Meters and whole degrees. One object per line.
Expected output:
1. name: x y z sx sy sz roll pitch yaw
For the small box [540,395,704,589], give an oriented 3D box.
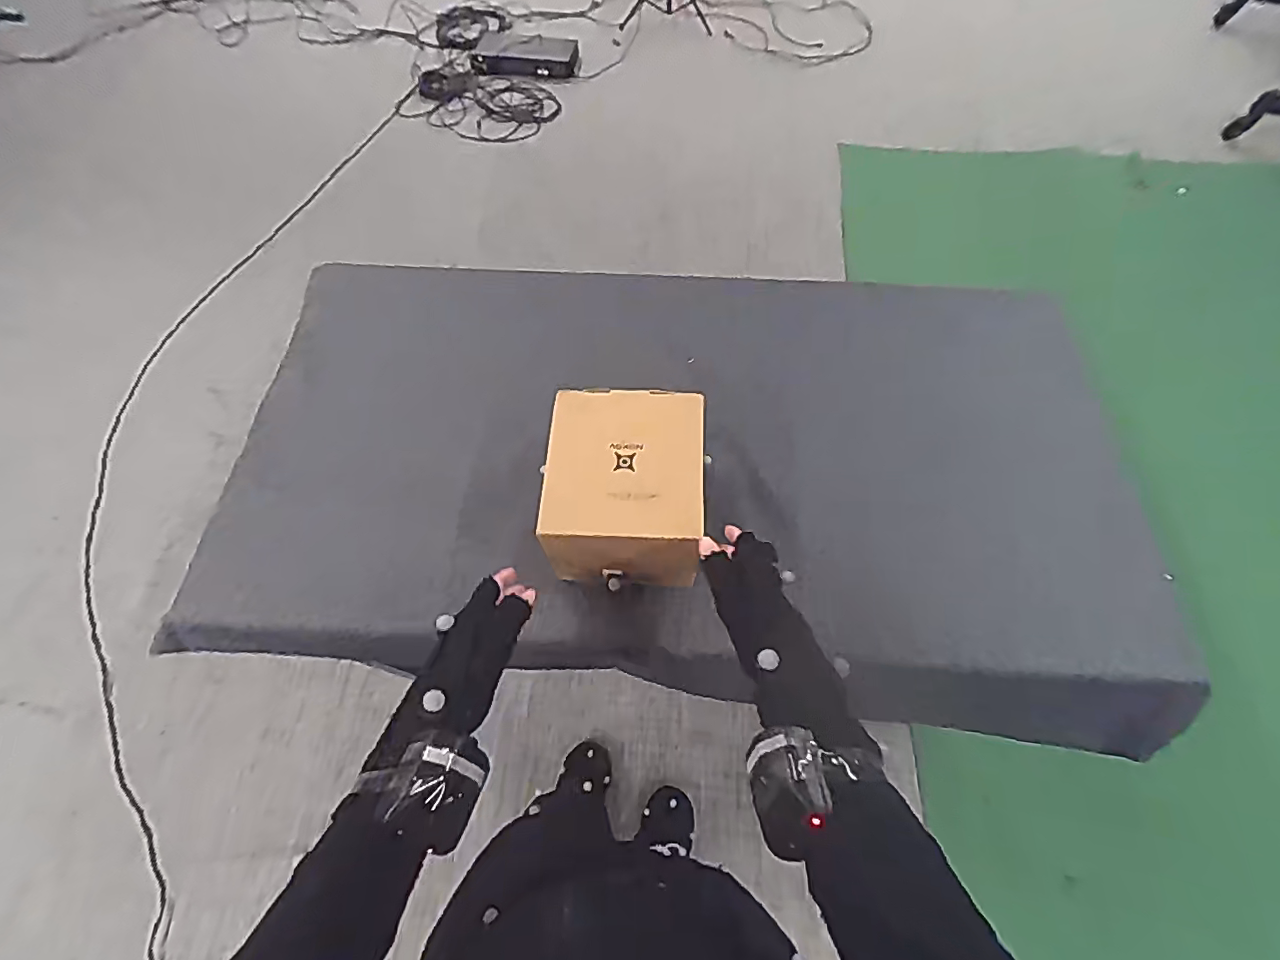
1. small box: -0.014 0.019 0.641 0.168 0.176 0.179 0 63 3
